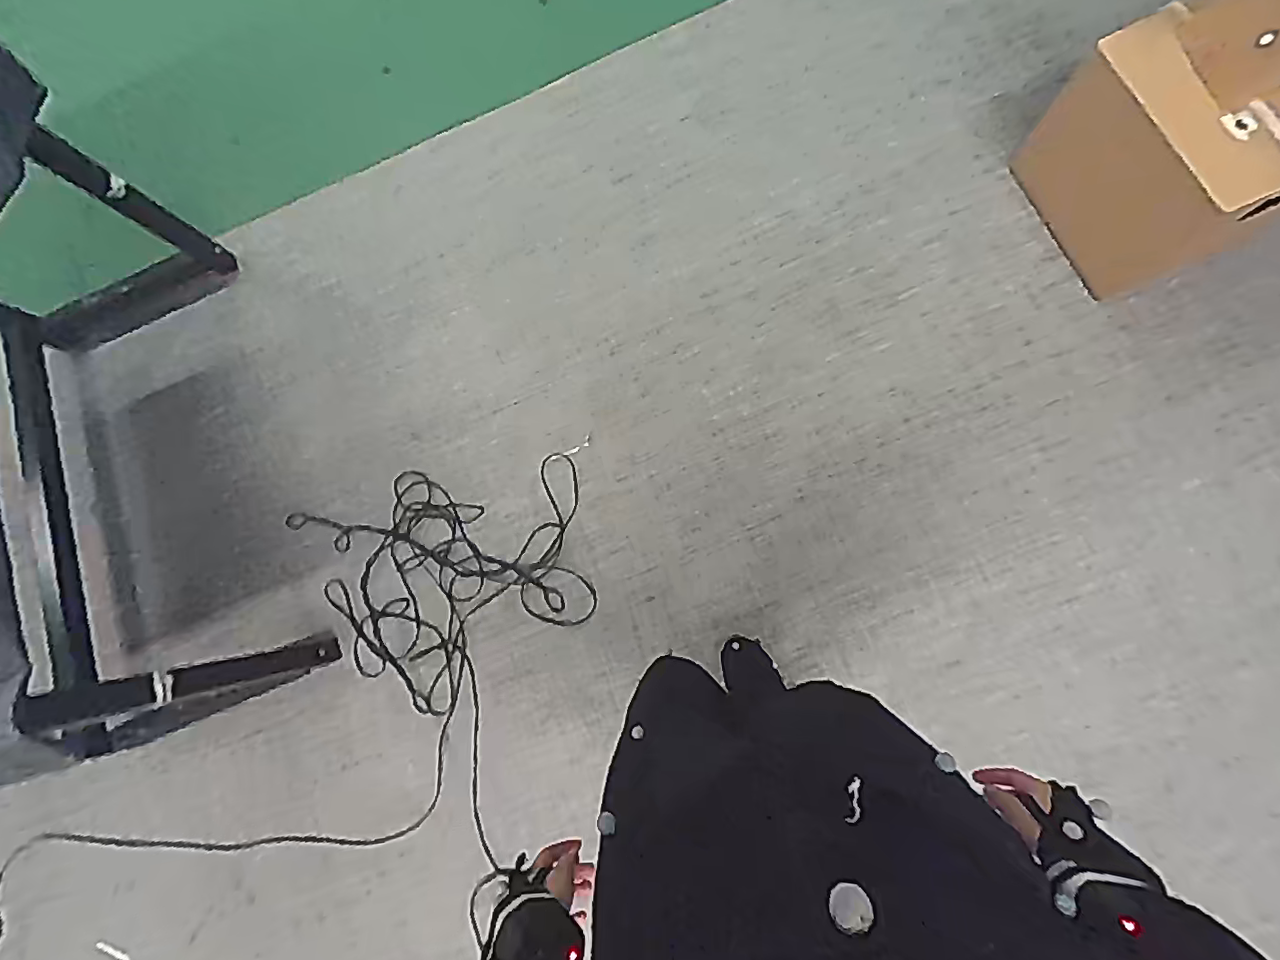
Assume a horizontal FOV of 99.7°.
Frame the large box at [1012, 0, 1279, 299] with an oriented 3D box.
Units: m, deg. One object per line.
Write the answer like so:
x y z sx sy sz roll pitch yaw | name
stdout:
1.080 -0.663 1.104 0.320 0.320 0.408 -24 80 4 | large box
